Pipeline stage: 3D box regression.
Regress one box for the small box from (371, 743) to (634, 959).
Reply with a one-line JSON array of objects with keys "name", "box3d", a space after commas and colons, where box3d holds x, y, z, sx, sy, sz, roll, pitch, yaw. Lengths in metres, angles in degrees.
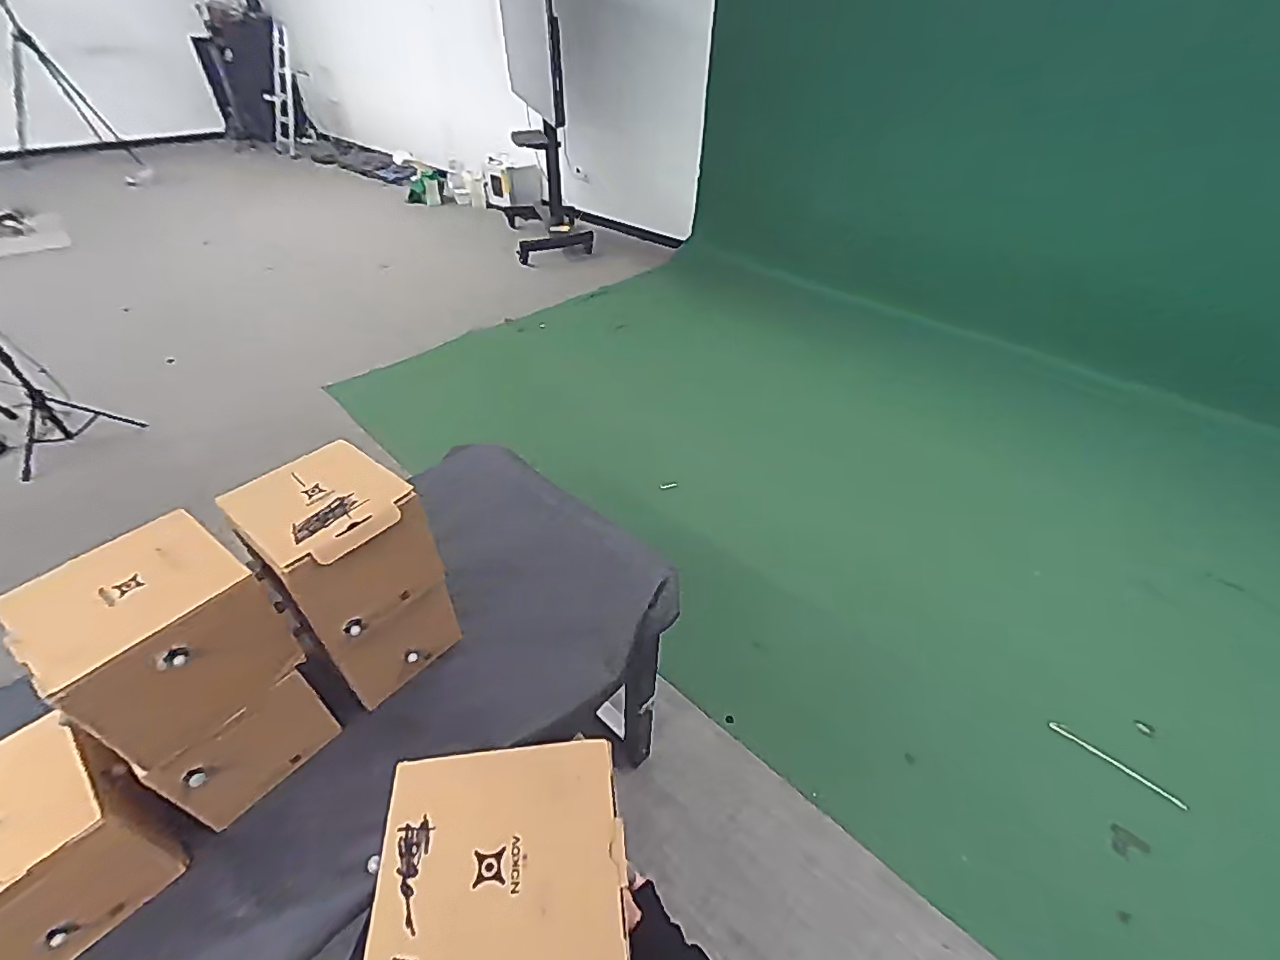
[{"name": "small box", "box3d": [-0.105, 0.343, 0.456, 0.179, 0.176, 0.168, -1, 43, -8]}]
